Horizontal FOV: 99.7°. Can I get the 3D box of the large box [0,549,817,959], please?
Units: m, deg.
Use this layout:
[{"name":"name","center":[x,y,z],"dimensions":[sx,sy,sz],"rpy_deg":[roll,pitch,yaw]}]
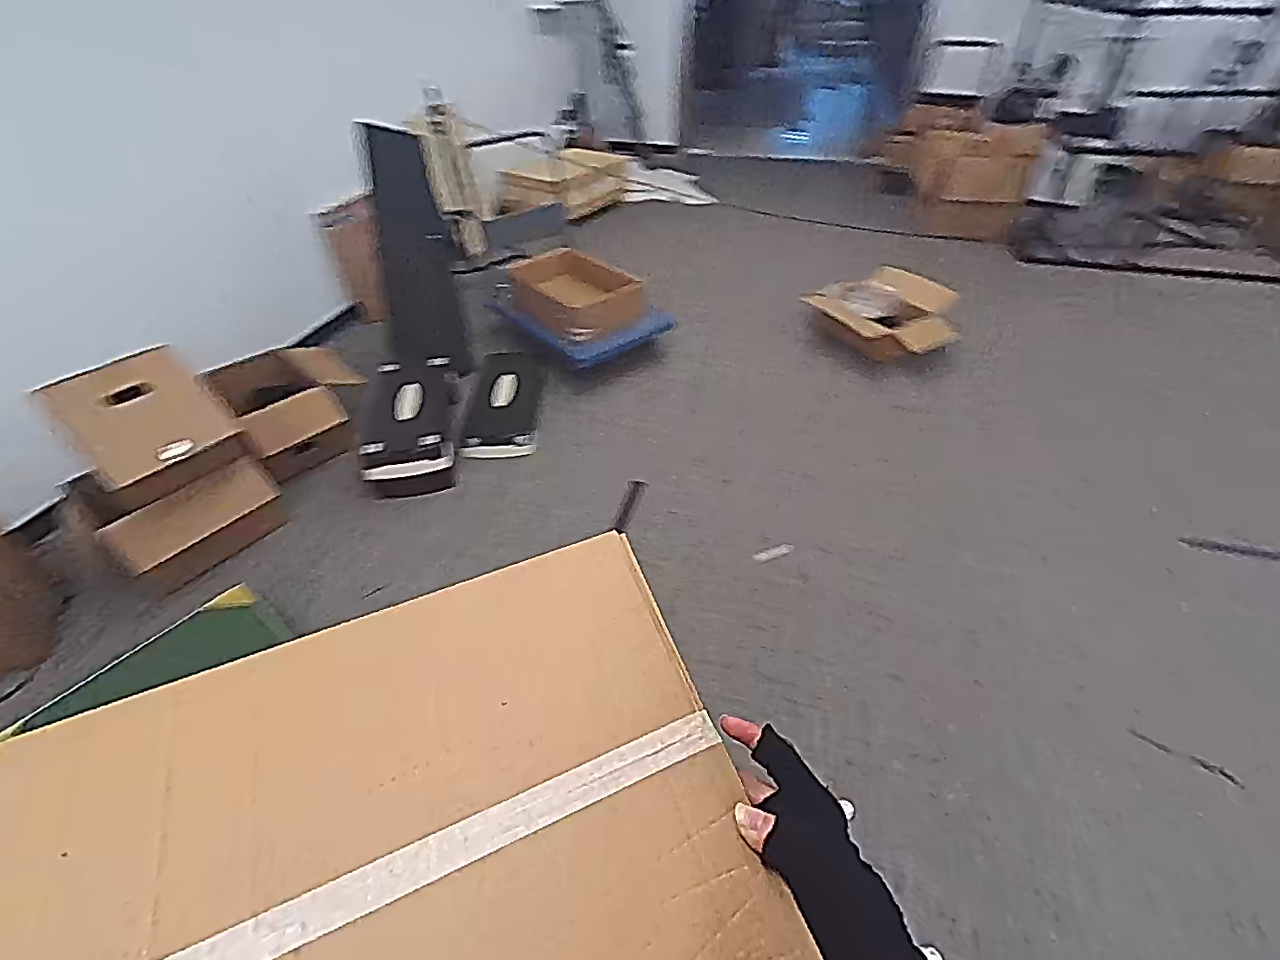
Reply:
[{"name":"large box","center":[-0.135,0.311,0.413],"dimensions":[0.408,0.320,0.320],"rpy_deg":[-17,54,-13]}]
